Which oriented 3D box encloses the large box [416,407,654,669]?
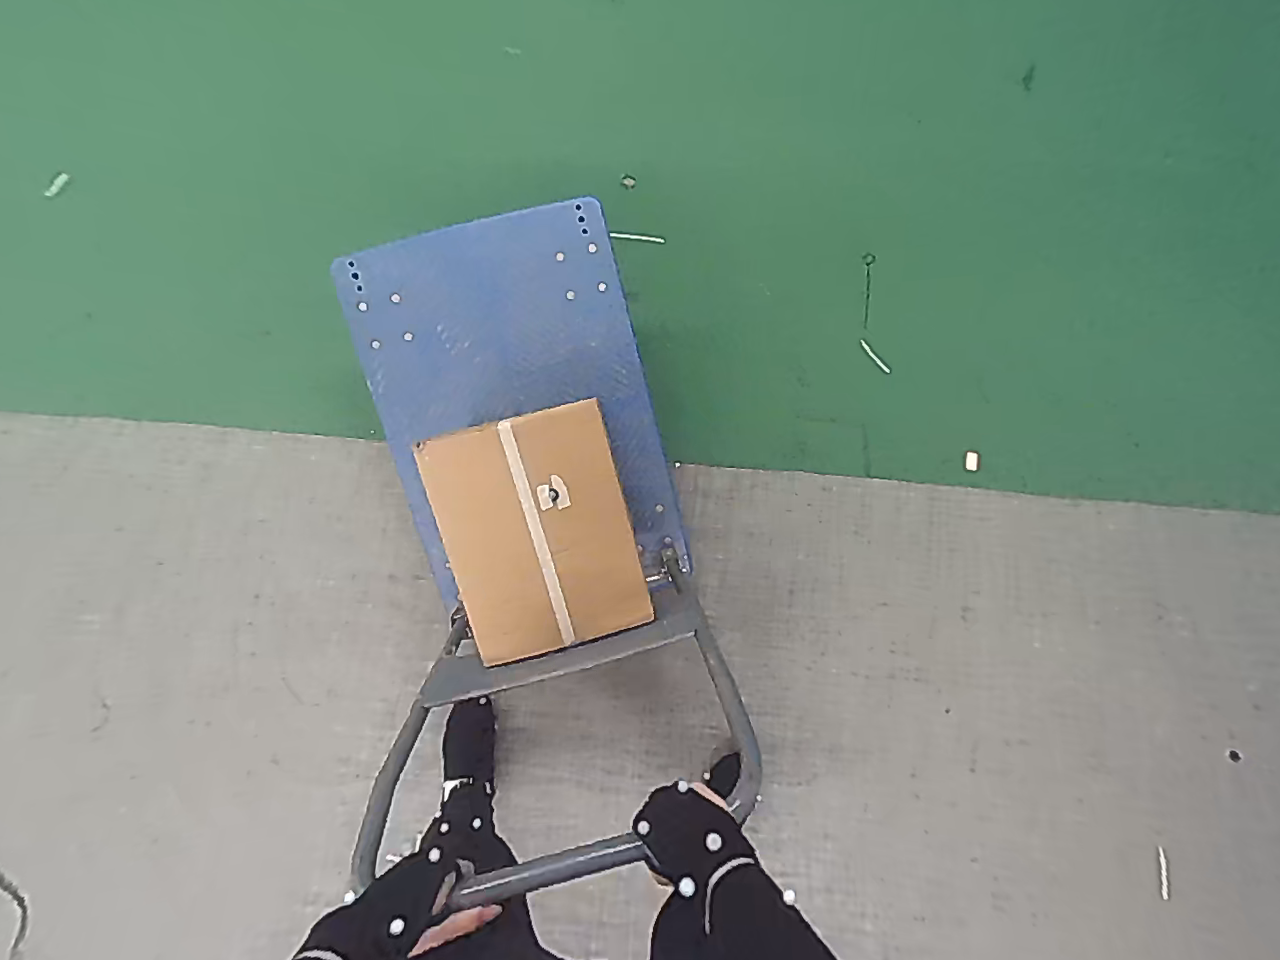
[{"bbox_3d":[-0.181,0.088,1.070,0.320,0.320,0.408,-15,98,-3],"label":"large box"}]
